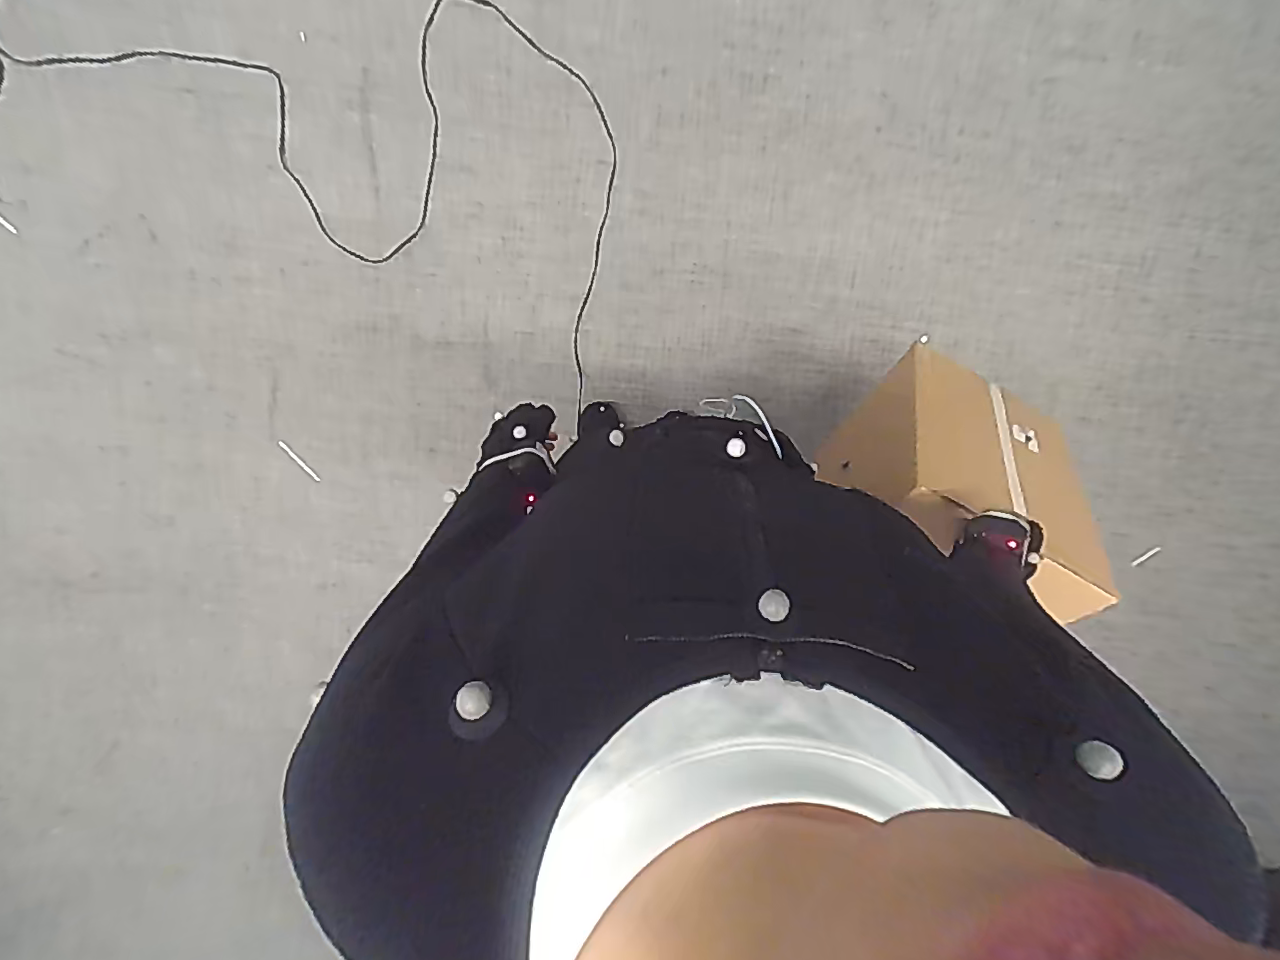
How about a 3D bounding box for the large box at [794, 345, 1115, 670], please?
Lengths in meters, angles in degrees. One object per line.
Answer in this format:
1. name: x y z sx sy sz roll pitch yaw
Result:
1. large box: 0.502 0.044 0.946 0.320 0.408 0.320 30 136 -2
